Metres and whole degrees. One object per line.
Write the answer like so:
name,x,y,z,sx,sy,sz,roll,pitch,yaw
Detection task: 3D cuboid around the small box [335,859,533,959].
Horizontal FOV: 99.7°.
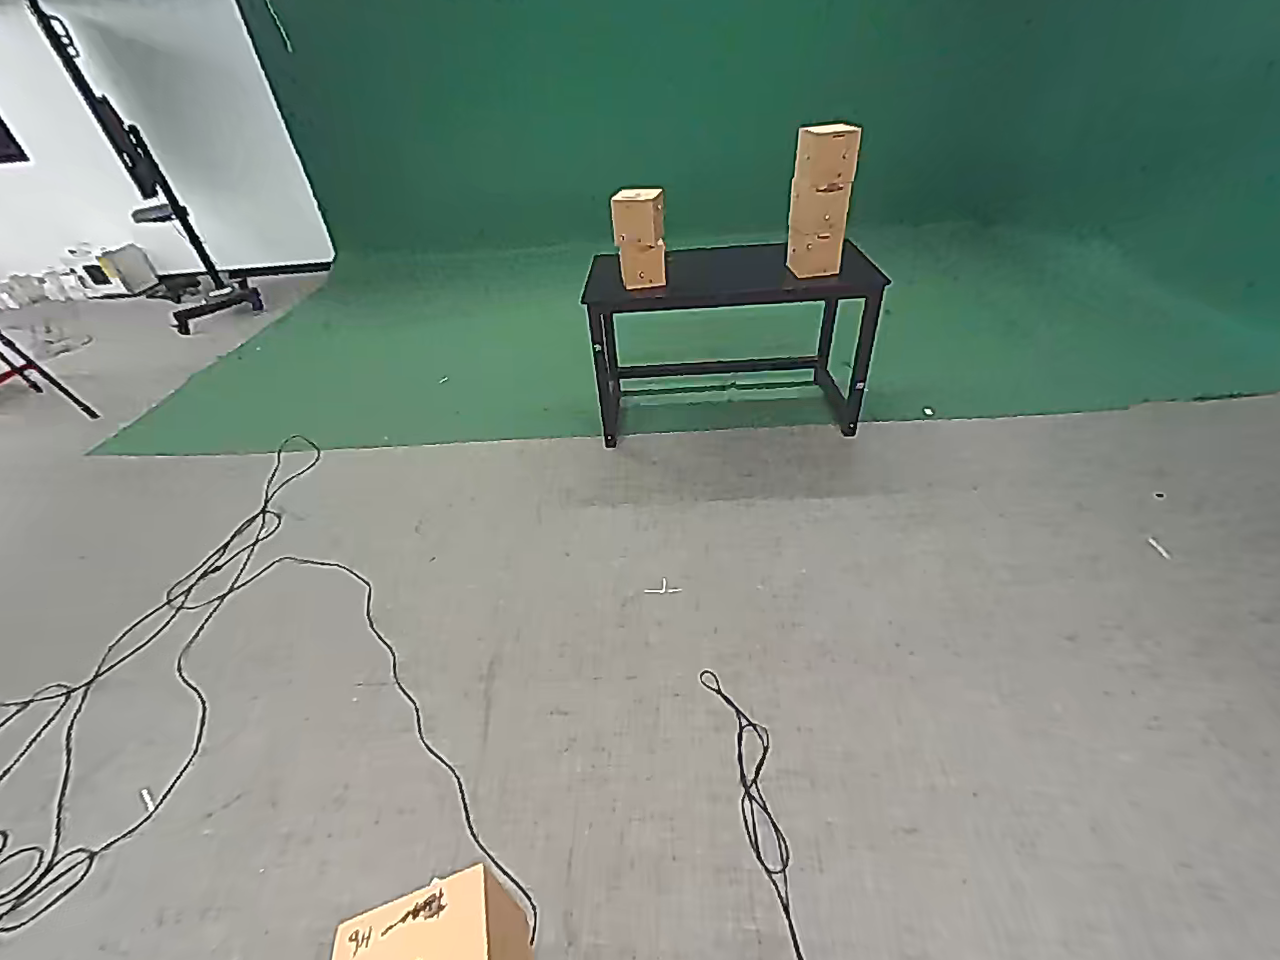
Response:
small box,-0.212,0.563,0.582,0.168,0.176,0.179,-19,36,-8

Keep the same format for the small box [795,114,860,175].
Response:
small box,0.677,-1.221,1.972,0.168,0.176,0.179,-7,38,-3

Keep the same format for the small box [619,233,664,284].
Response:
small box,0.004,-0.923,2.231,0.168,0.176,0.179,-7,40,-4

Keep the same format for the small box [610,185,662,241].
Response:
small box,-0.010,-1.050,2.128,0.168,0.176,0.179,7,40,13

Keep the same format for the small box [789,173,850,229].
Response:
small box,0.684,-1.081,2.085,0.168,0.176,0.179,-8,39,-2
